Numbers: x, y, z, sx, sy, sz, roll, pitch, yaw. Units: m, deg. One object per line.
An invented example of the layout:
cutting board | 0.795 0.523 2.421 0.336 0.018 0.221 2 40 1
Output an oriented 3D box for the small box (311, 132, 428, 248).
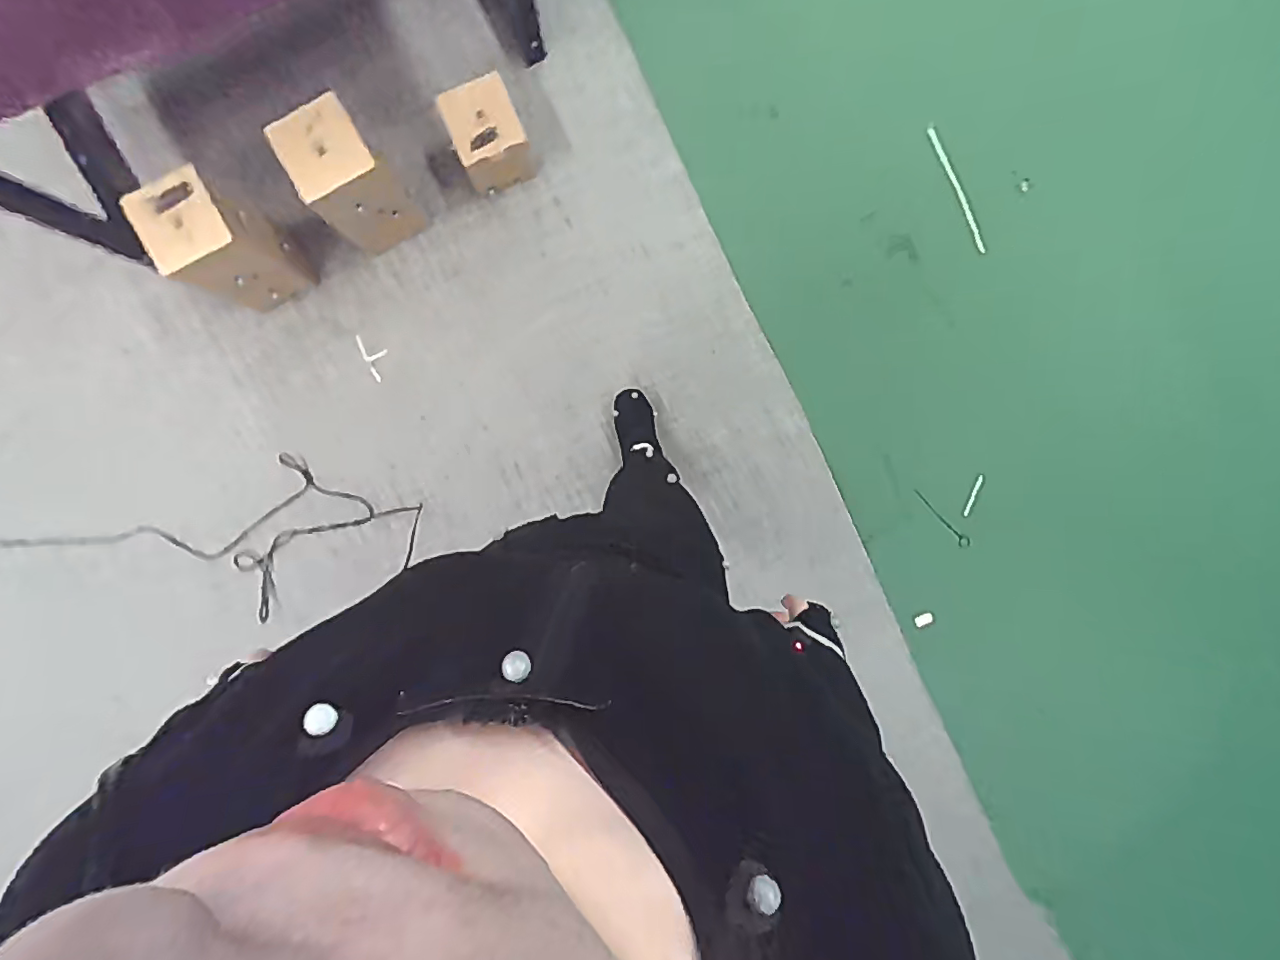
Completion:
small box | -0.670 -0.718 1.360 0.179 0.176 0.168 -27 94 -1
